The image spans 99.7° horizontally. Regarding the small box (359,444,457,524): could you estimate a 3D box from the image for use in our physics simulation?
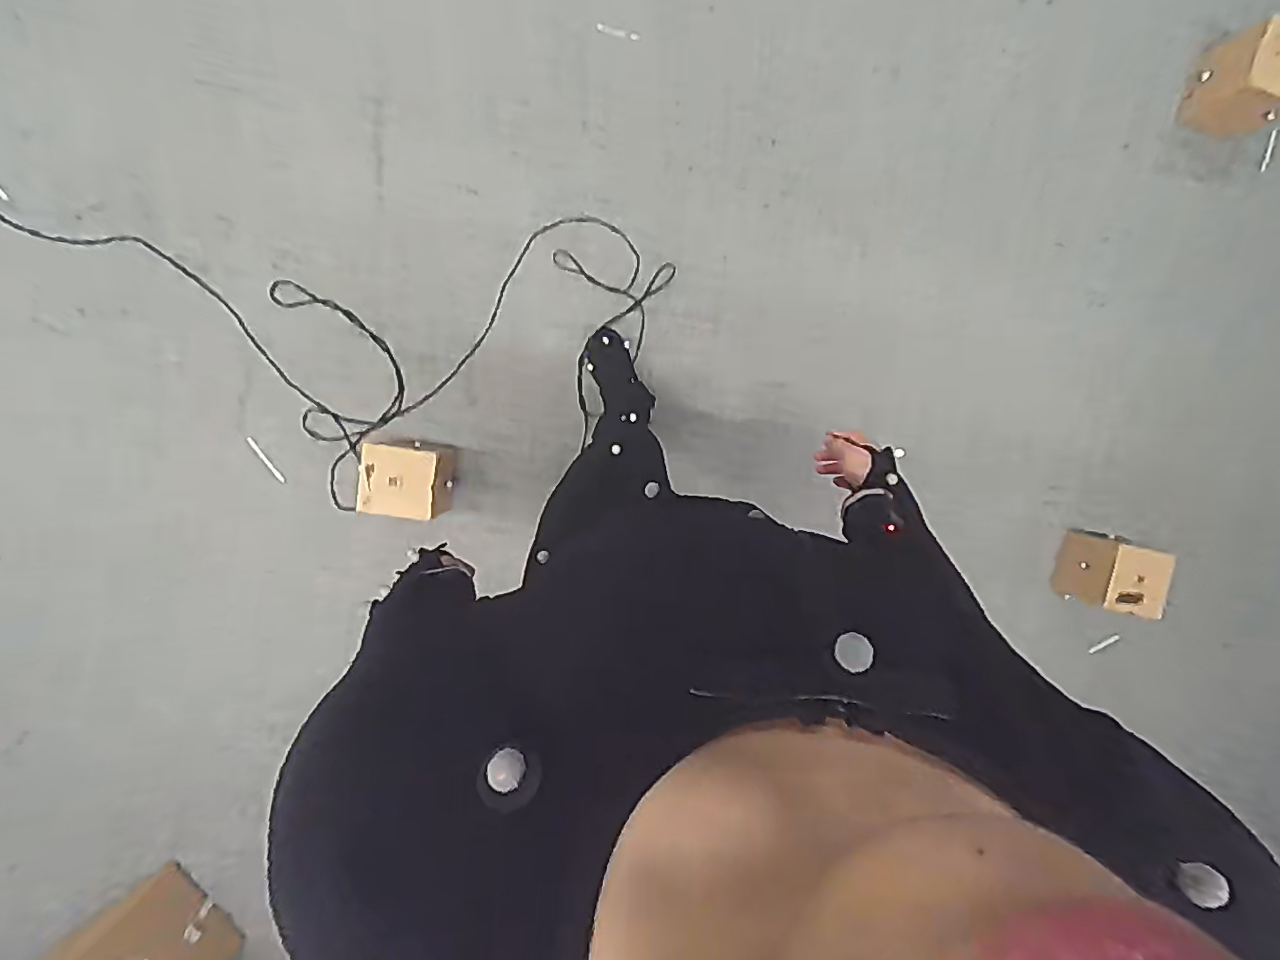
[{"bbox_3d":[-0.568,0.003,1.343,0.179,0.176,0.168,8,96,-5],"label":"small box"}]

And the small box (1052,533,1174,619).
[{"bbox_3d":[1.285,0.258,1.485,0.168,0.176,0.179,12,95,-4],"label":"small box"}]

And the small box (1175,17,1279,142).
[{"bbox_3d":[1.519,-0.984,1.348,0.179,0.176,0.168,16,95,-5],"label":"small box"}]
